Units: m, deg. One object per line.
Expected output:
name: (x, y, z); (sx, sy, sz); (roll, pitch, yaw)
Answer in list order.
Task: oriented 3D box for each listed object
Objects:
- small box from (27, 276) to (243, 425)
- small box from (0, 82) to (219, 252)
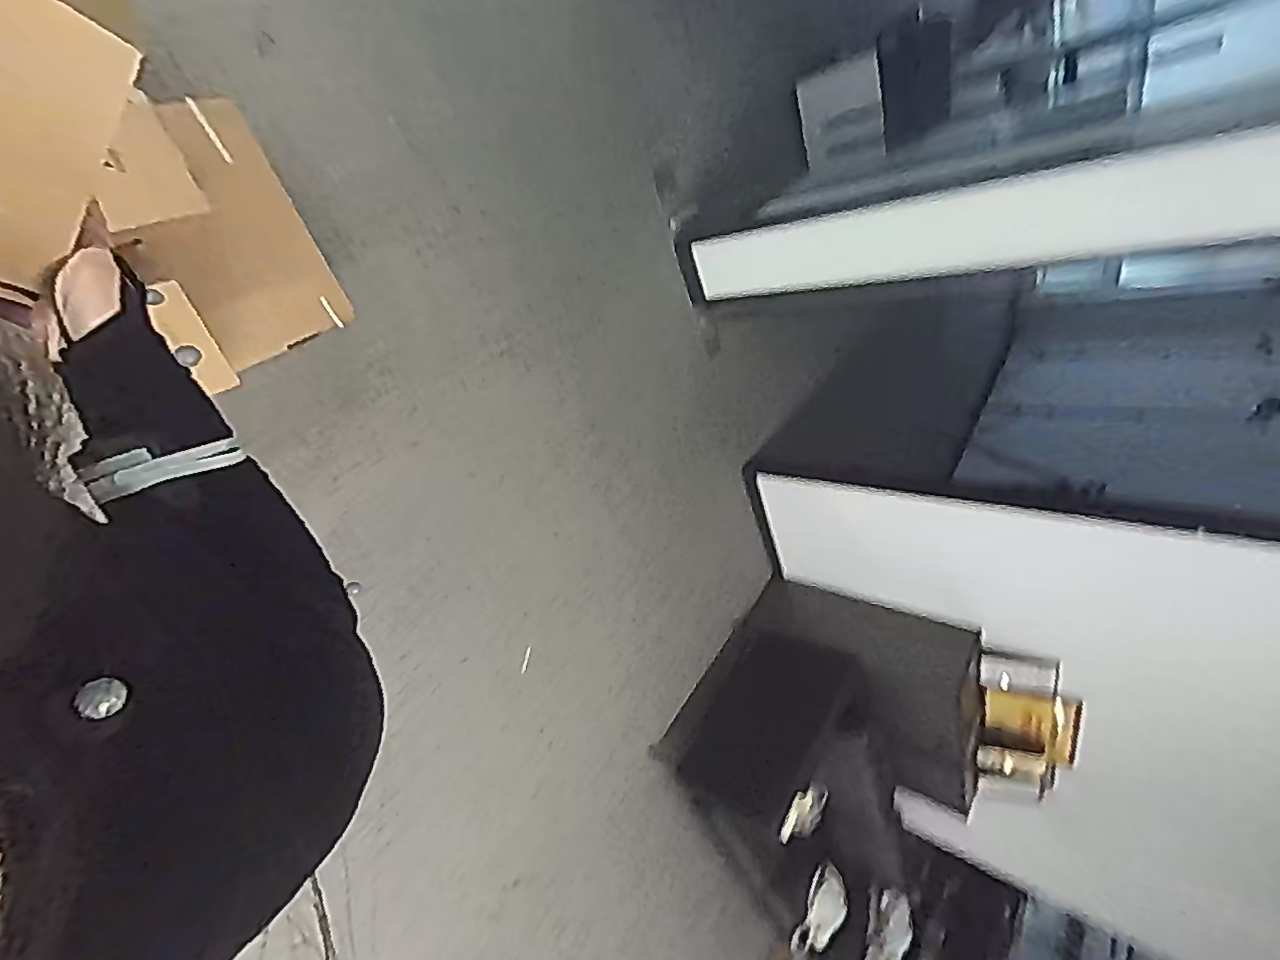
small box: (-0.760, -0.197, 0.821); (0.179, 0.176, 0.168); (-39, 127, -38)
small box: (-0.761, -0.440, 0.771); (0.179, 0.176, 0.168); (-41, 125, -38)
